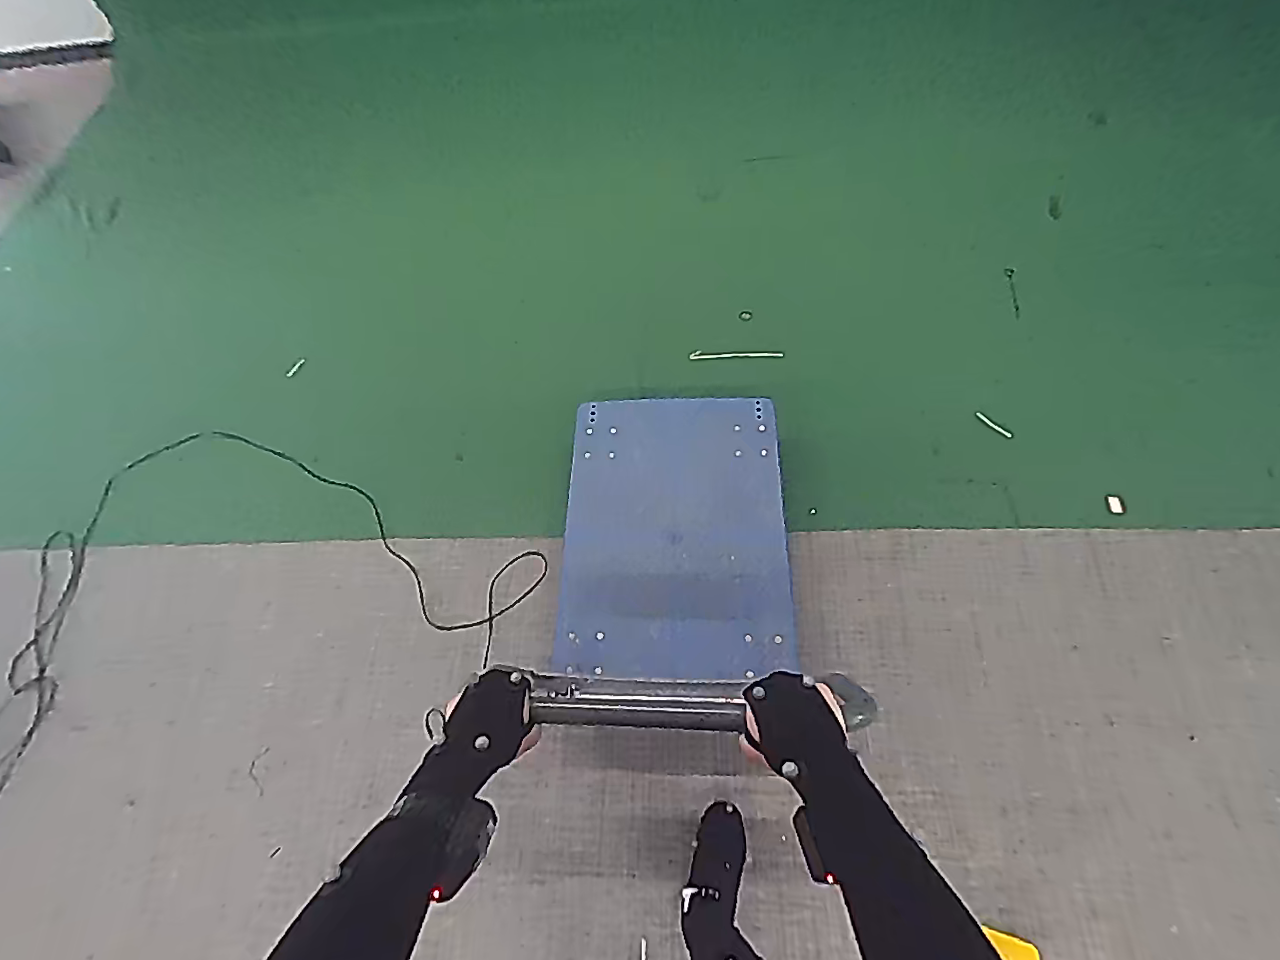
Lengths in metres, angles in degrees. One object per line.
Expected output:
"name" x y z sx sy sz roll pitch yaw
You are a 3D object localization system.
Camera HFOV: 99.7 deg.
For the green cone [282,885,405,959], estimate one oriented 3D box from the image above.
"green cone" -0.647 0.950 1.051 0.202 0.368 0.200 -6 63 4
